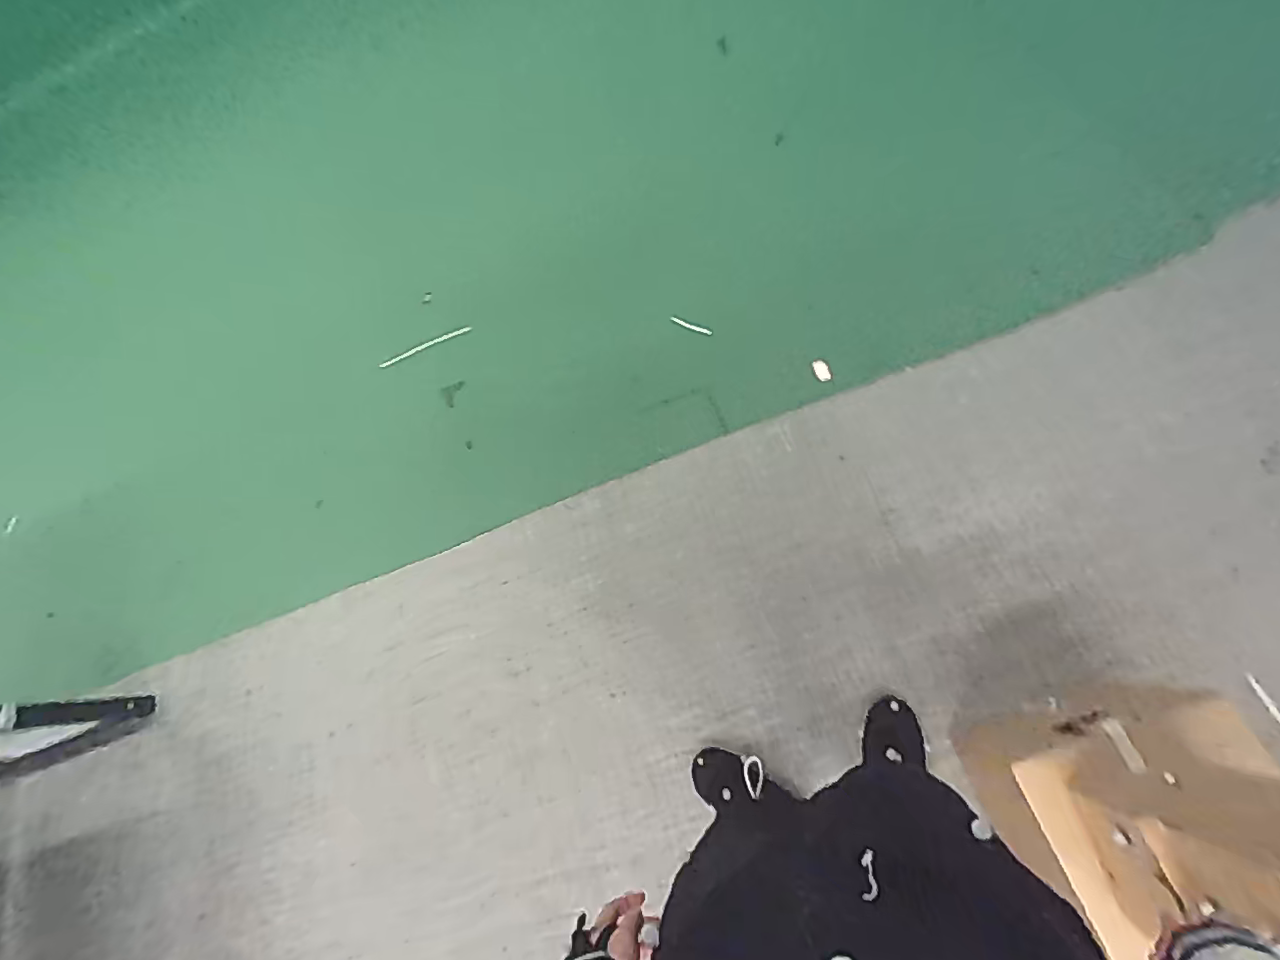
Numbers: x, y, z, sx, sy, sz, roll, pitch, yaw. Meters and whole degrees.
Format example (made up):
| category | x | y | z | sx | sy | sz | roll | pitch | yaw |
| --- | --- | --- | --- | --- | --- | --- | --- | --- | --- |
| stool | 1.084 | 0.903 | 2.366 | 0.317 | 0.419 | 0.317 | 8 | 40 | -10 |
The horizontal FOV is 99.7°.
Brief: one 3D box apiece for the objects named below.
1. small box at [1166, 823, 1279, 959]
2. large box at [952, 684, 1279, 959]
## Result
| category | x | y | z | sx | sy | sz | roll | pitch | yaw |
| --- | --- | --- | --- | --- | --- | --- | --- | --- | --- |
| small box | 0.656 | 0.426 | 0.490 | 0.179 | 0.176 | 0.168 | -9 | 71 | 11 |
| large box | 0.782 | 0.581 | 0.848 | 0.320 | 0.320 | 0.408 | -23 | 70 | 7 |
